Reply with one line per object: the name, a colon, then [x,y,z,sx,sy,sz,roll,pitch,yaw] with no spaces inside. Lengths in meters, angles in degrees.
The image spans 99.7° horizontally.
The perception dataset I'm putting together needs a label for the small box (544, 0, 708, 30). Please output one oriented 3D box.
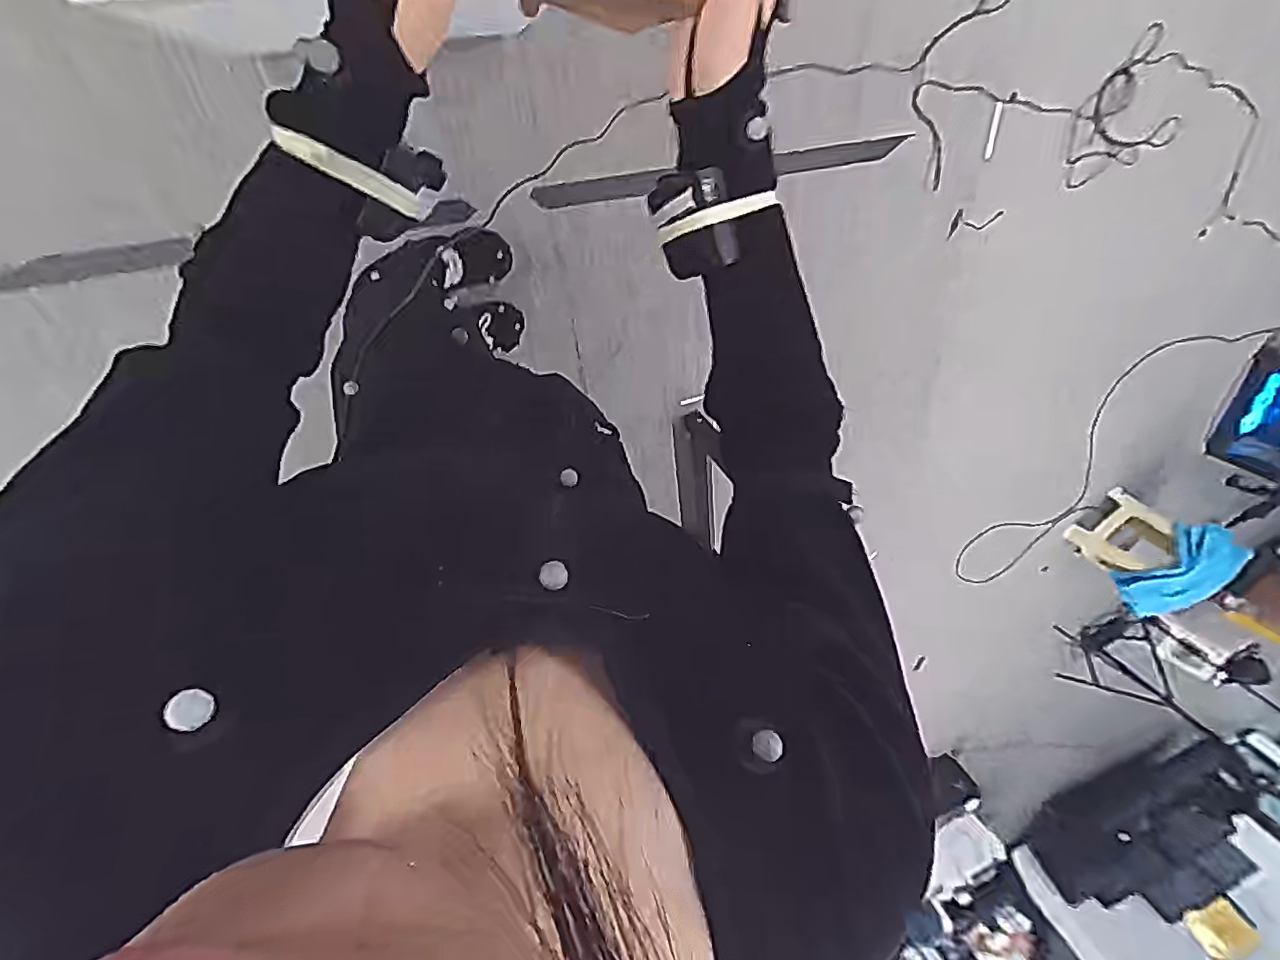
small box: [-0.036,-0.392,0.302,0.168,0.176,0.179,5,124,-21]
